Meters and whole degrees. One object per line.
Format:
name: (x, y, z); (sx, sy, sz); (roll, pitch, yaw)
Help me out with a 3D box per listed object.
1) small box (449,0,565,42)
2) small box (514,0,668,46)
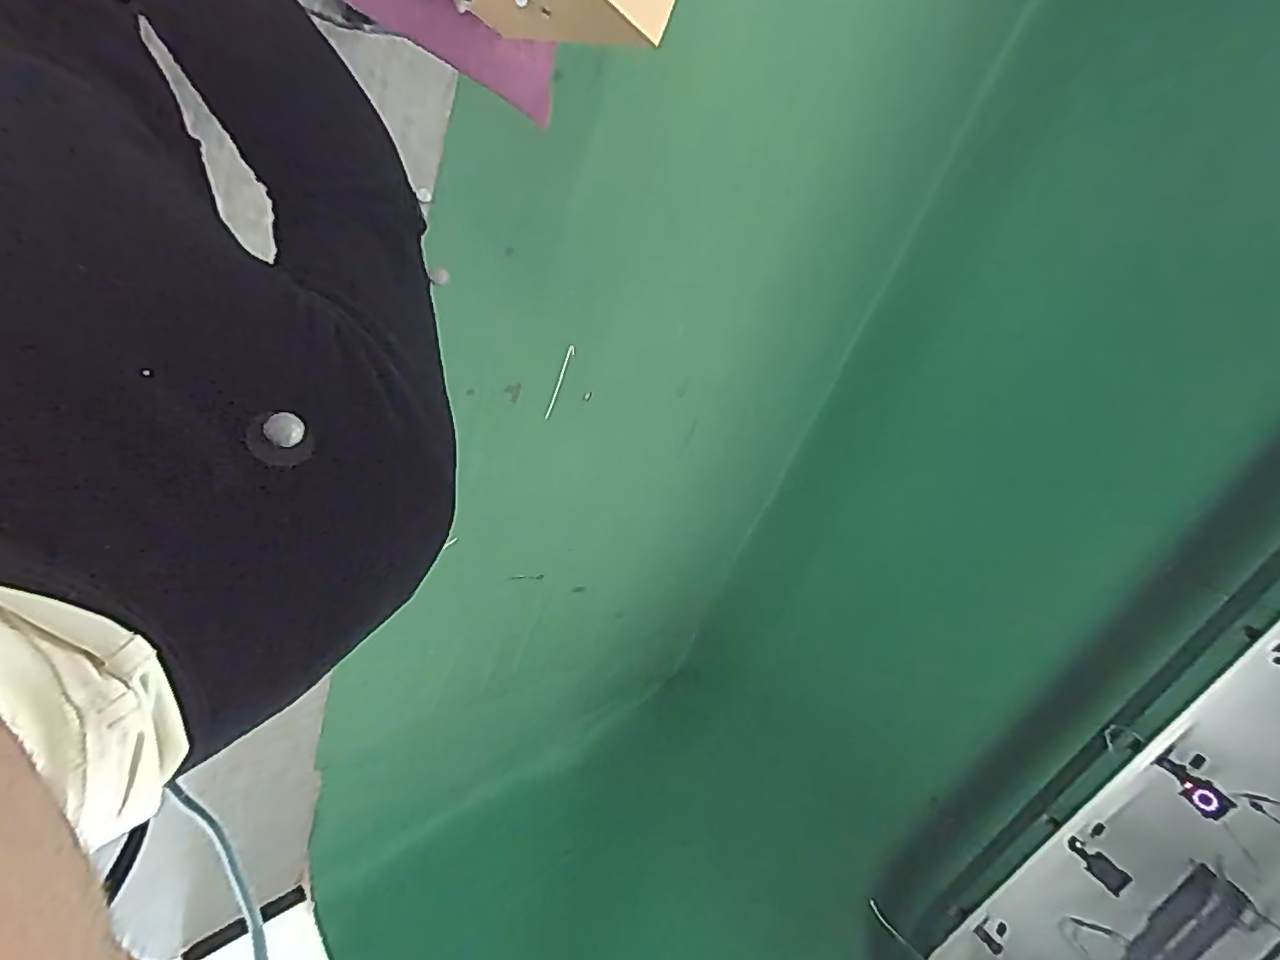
small box: (-0.173, -0.668, 0.641); (0.179, 0.176, 0.168); (0, 119, -50)
small box: (-0.062, -0.590, 0.550); (0.168, 0.176, 0.179); (1, 119, -49)
